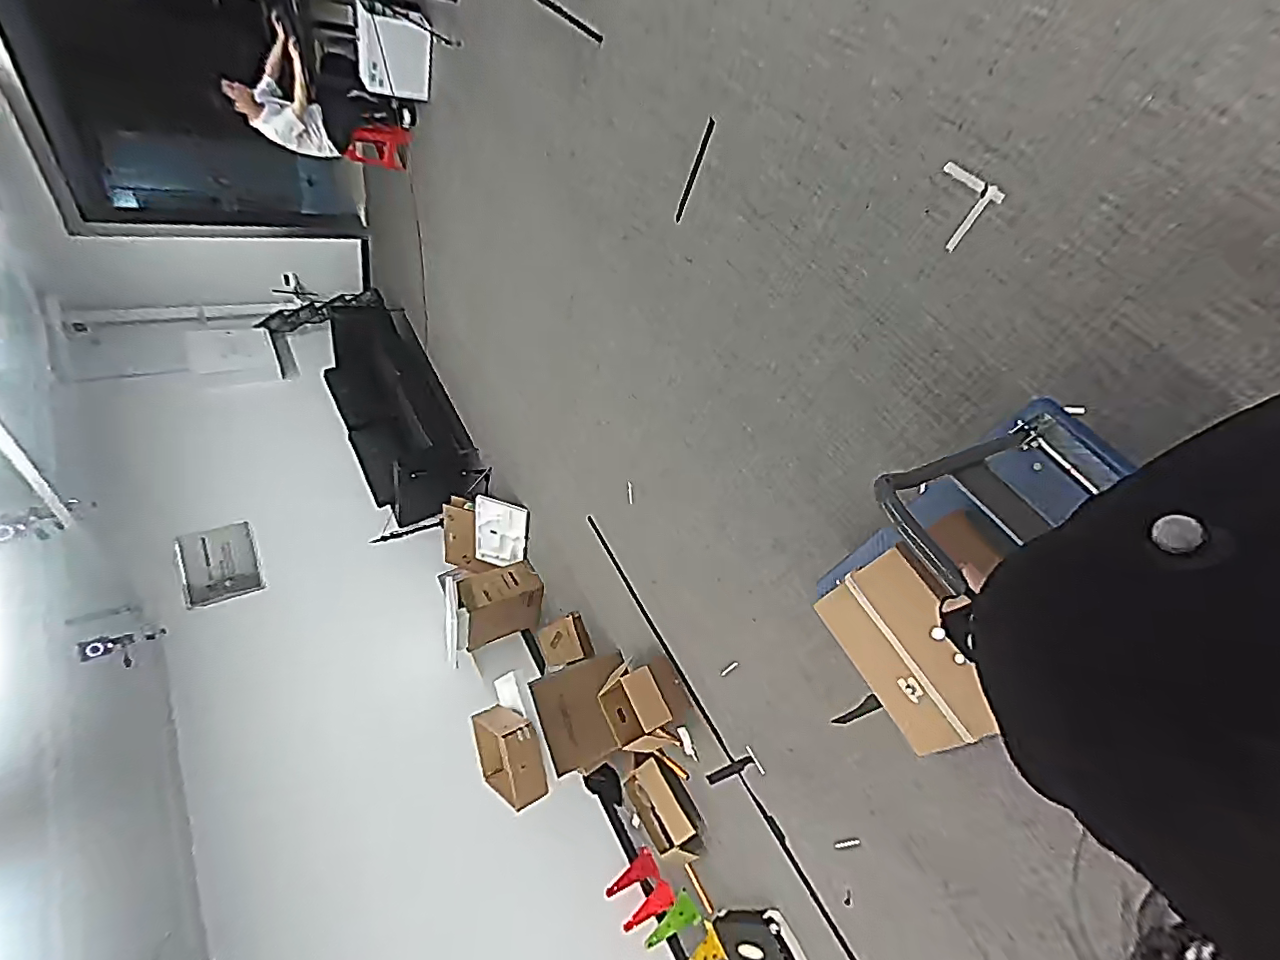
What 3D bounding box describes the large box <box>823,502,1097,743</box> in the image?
[{"bbox_3d":[0.732,0.323,1.277,0.408,0.320,0.320,57,144,23],"label":"large box"}]
